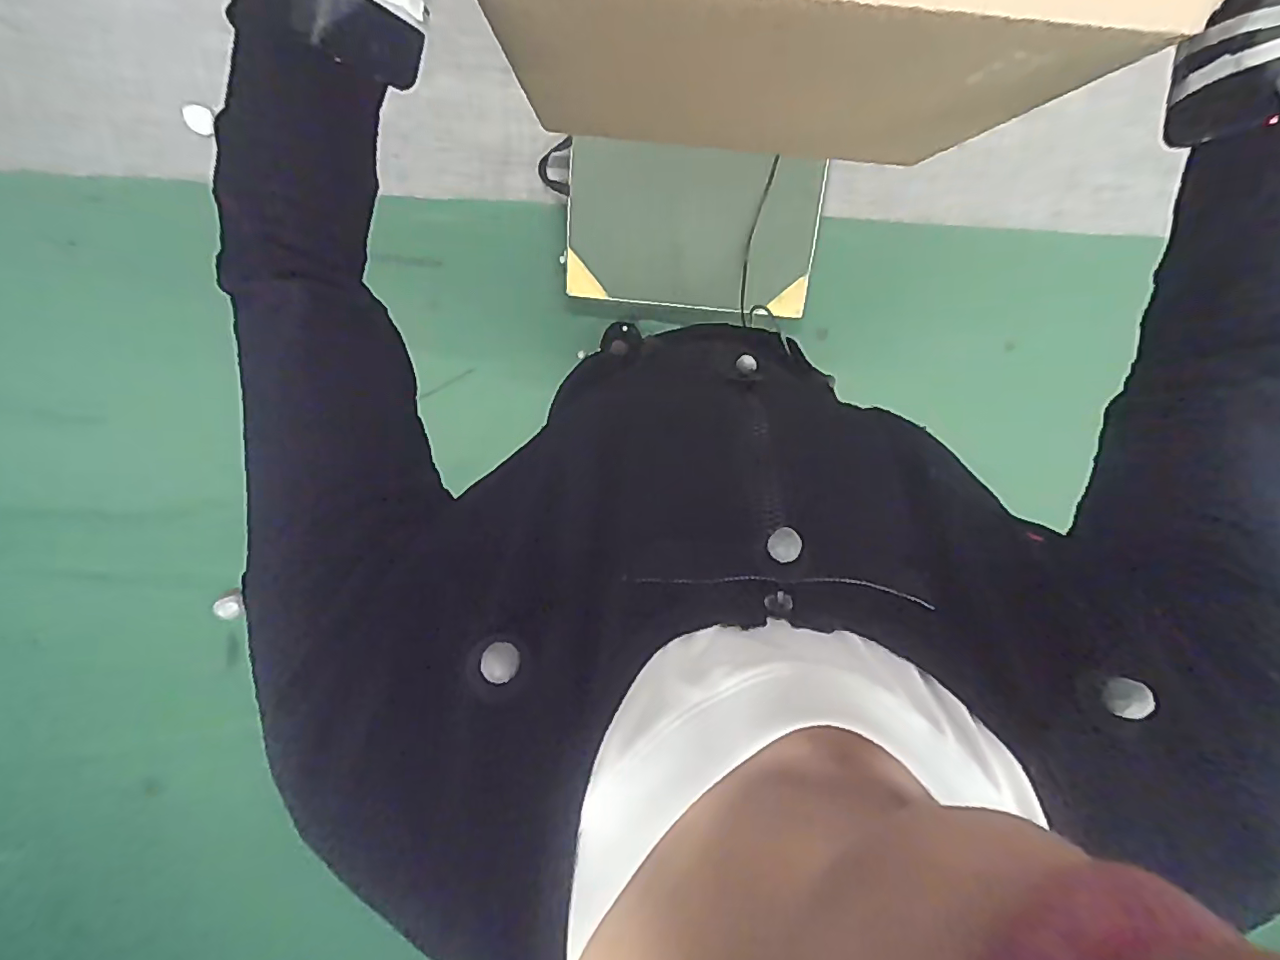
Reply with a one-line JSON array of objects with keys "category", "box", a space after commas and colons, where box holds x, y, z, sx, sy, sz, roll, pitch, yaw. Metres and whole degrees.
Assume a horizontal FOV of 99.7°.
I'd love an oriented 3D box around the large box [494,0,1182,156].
[{"category": "large box", "box": [0.107, -0.456, 0.391, 0.408, 0.320, 0.320, 2, 109, -4]}]
